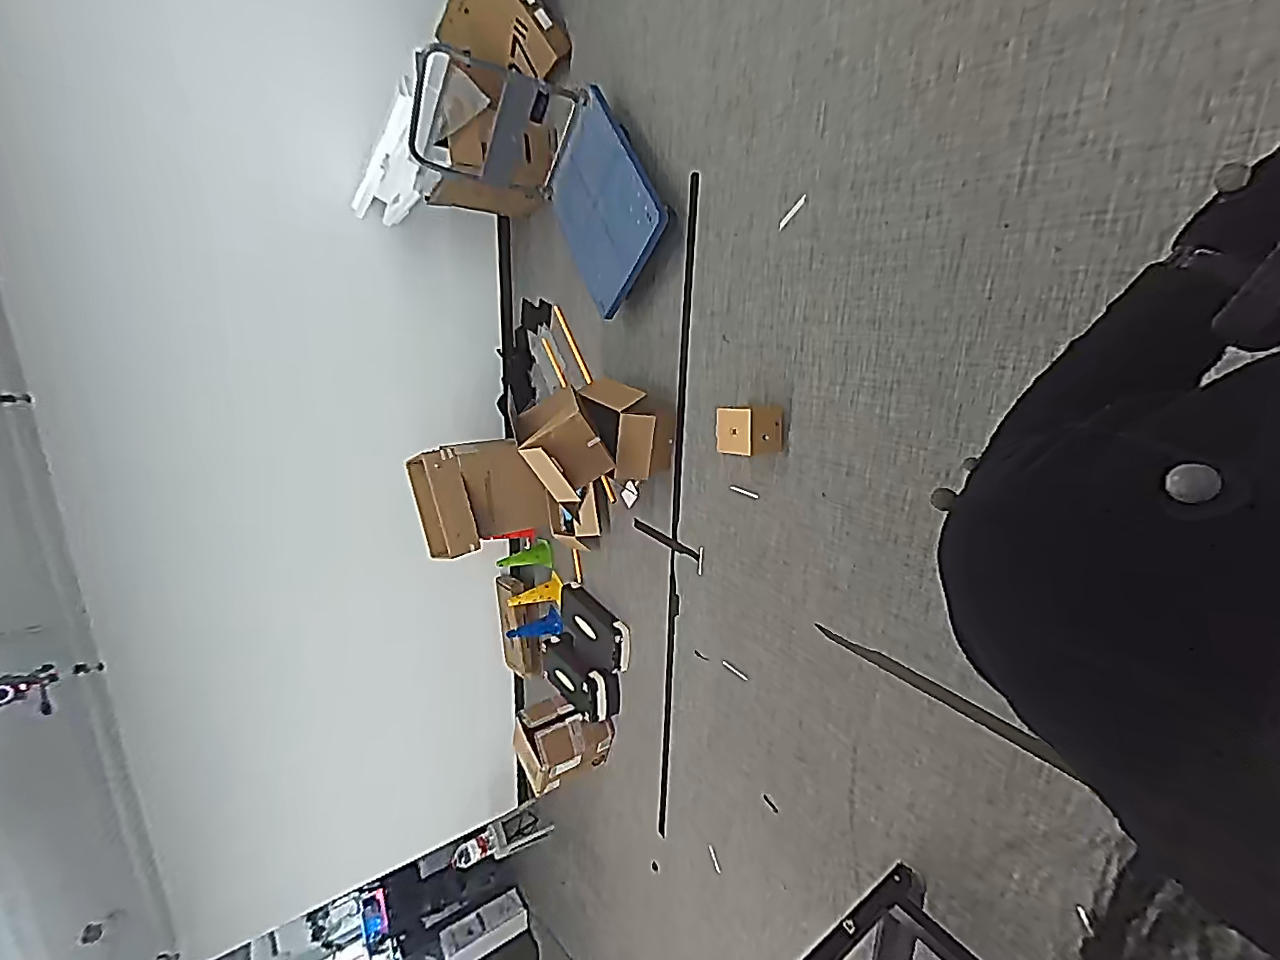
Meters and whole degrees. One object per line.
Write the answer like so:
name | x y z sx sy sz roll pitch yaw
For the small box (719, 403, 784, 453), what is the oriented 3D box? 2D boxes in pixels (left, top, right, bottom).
small box | 0.410 -0.196 1.980 0.179 0.176 0.168 13 108 55
